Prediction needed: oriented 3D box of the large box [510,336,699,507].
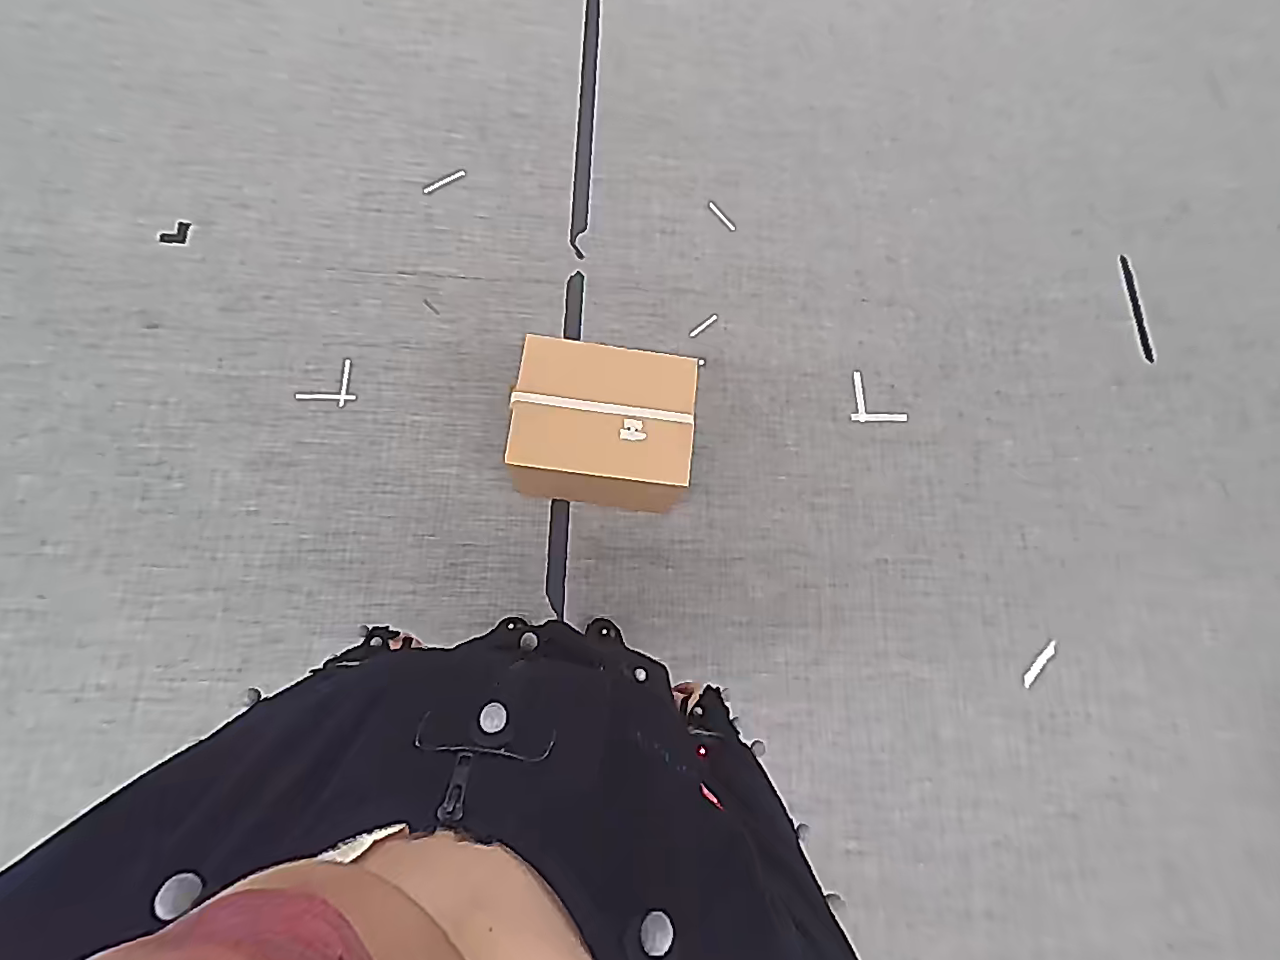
[{"bbox_3d":[-0.090,-0.127,1.354,0.408,0.320,0.320,7,76,-5],"label":"large box"}]
